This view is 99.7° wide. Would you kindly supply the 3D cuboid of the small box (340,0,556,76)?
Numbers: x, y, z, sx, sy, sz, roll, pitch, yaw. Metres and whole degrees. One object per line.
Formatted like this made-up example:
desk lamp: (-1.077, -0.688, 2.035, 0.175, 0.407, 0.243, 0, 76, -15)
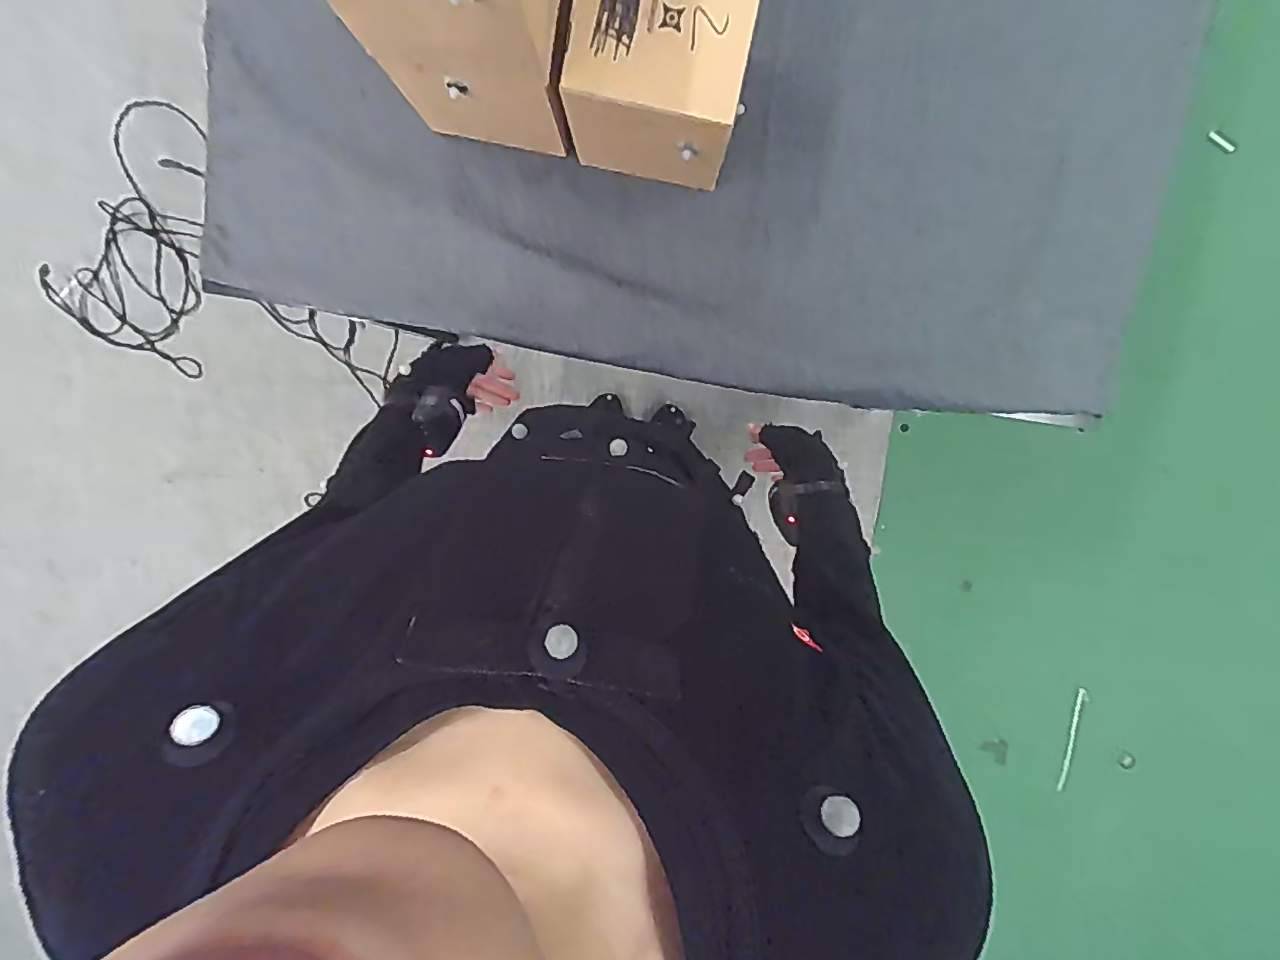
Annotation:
small box: (-0.158, -0.467, 0.433, 0.179, 0.176, 0.168, 9, 97, -1)
